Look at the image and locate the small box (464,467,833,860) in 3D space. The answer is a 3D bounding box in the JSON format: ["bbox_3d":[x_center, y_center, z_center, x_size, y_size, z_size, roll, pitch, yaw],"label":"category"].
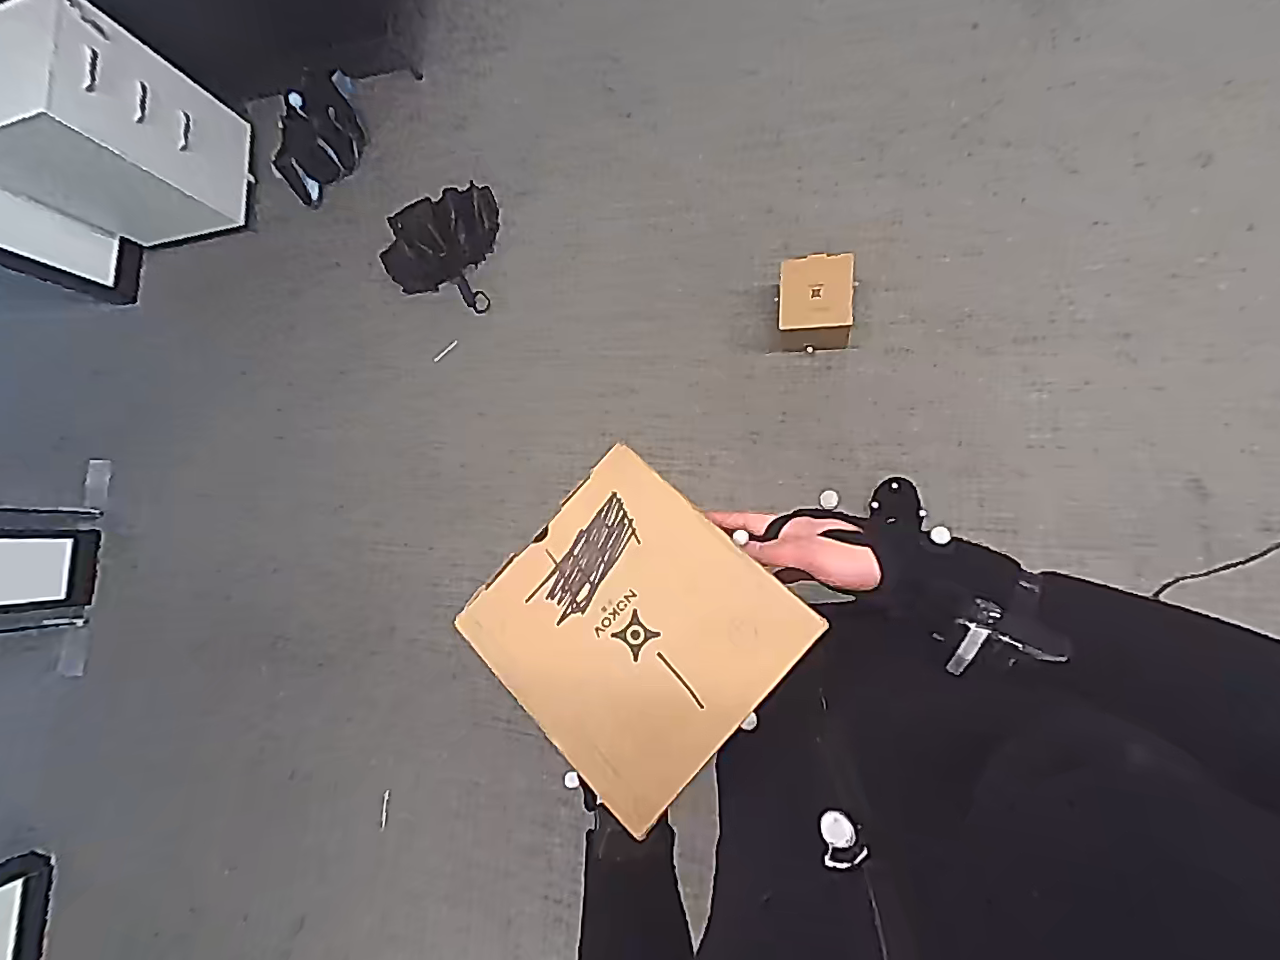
[{"bbox_3d":[0.013,0.122,0.407,0.179,0.176,0.168,42,88,19],"label":"small box"}]

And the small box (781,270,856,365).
[{"bbox_3d":[0.442,-0.398,1.347,0.168,0.176,0.179,1,85,18],"label":"small box"}]
